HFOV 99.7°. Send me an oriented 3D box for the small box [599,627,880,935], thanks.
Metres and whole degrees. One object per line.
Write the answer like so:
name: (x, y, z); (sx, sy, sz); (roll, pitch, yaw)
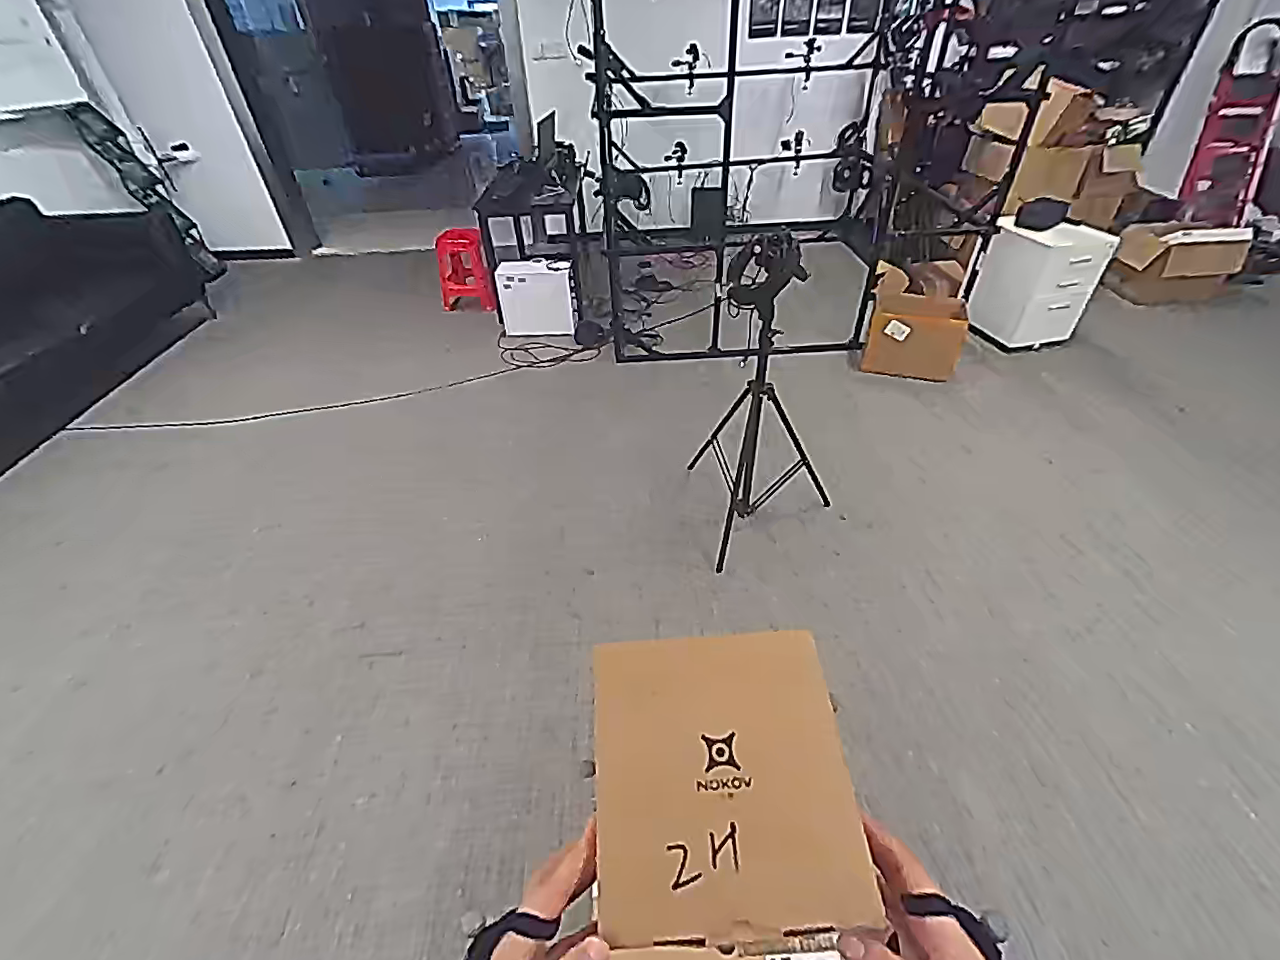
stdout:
small box: (0.055, 0.233, 0.424); (0.168, 0.176, 0.179); (-4, 55, -1)
